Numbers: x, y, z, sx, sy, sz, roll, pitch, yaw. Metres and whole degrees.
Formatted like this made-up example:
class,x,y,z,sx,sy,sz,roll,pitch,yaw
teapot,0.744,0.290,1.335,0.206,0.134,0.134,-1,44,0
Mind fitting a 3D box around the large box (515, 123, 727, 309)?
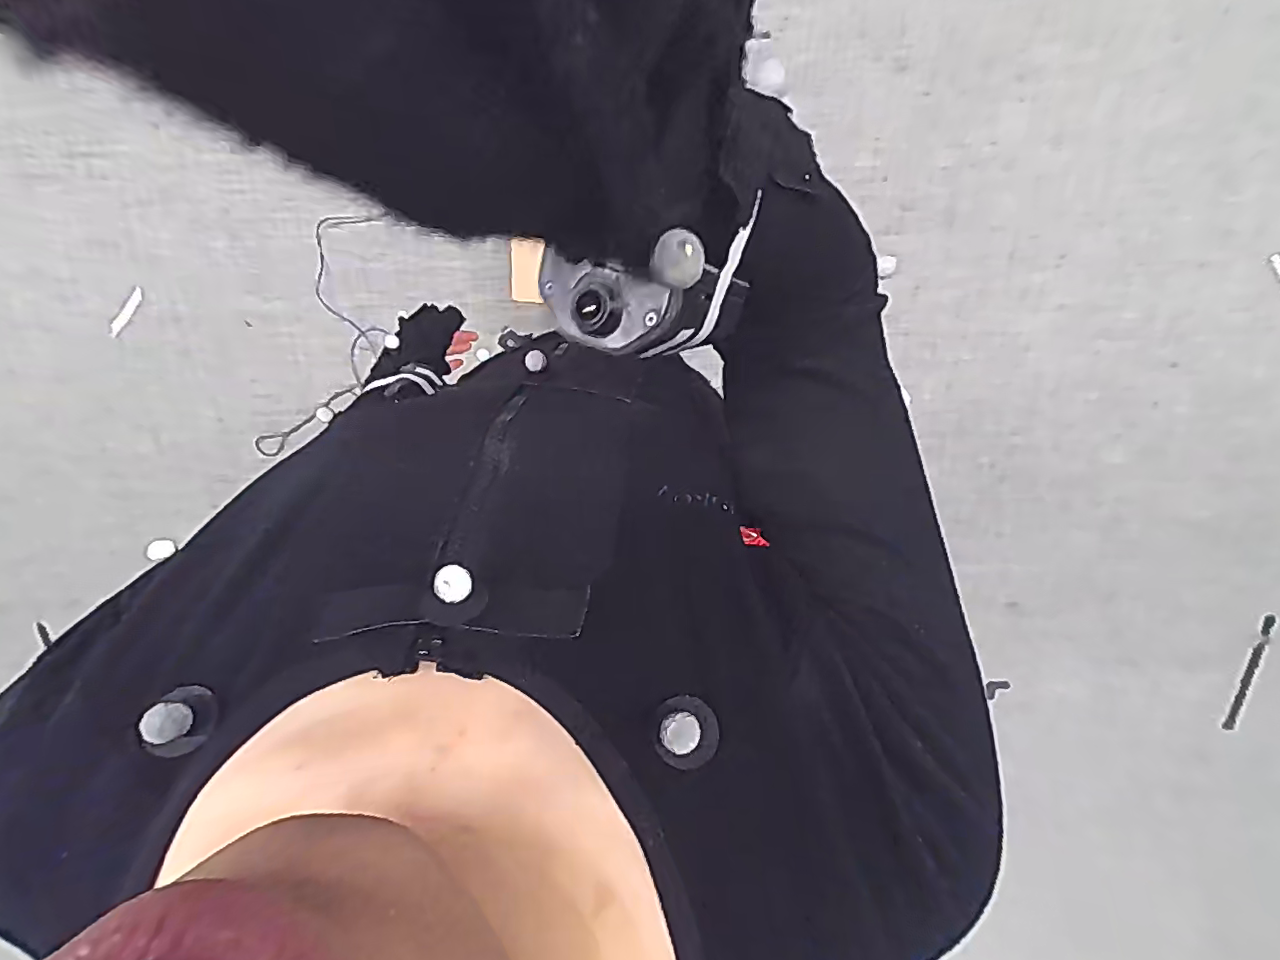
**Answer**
class,x,y,z,sx,sy,sz,roll,pitch,yaw
large box,-0.040,-0.549,1.187,0.408,0.320,0.320,3,107,0
